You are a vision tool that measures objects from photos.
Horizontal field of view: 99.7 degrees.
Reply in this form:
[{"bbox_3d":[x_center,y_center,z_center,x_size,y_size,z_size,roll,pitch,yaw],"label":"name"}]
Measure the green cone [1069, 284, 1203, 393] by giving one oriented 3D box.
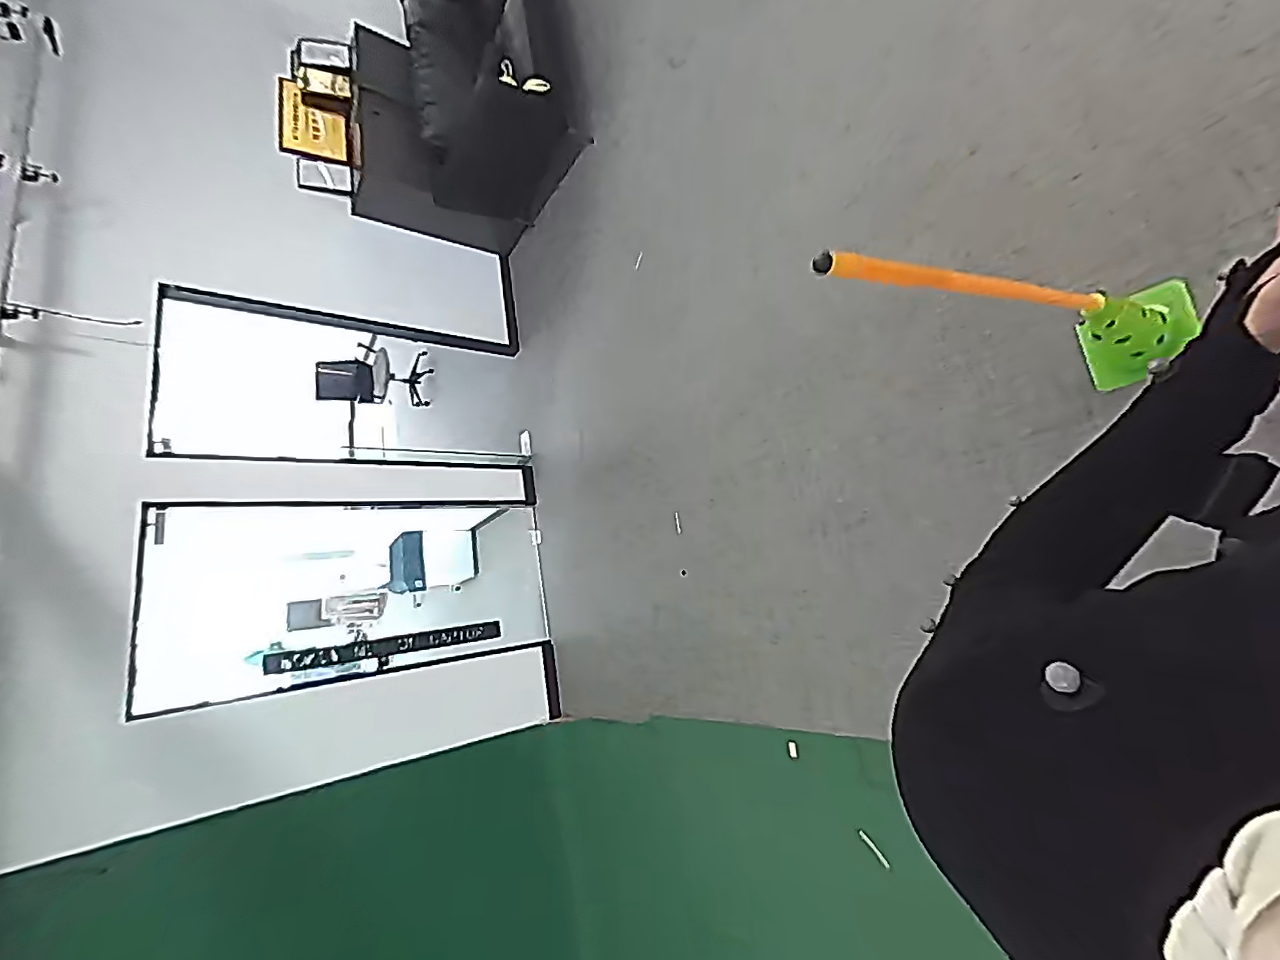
[{"bbox_3d":[0.994,-0.324,1.135,0.202,0.368,0.200,-24,70,49],"label":"green cone"}]
